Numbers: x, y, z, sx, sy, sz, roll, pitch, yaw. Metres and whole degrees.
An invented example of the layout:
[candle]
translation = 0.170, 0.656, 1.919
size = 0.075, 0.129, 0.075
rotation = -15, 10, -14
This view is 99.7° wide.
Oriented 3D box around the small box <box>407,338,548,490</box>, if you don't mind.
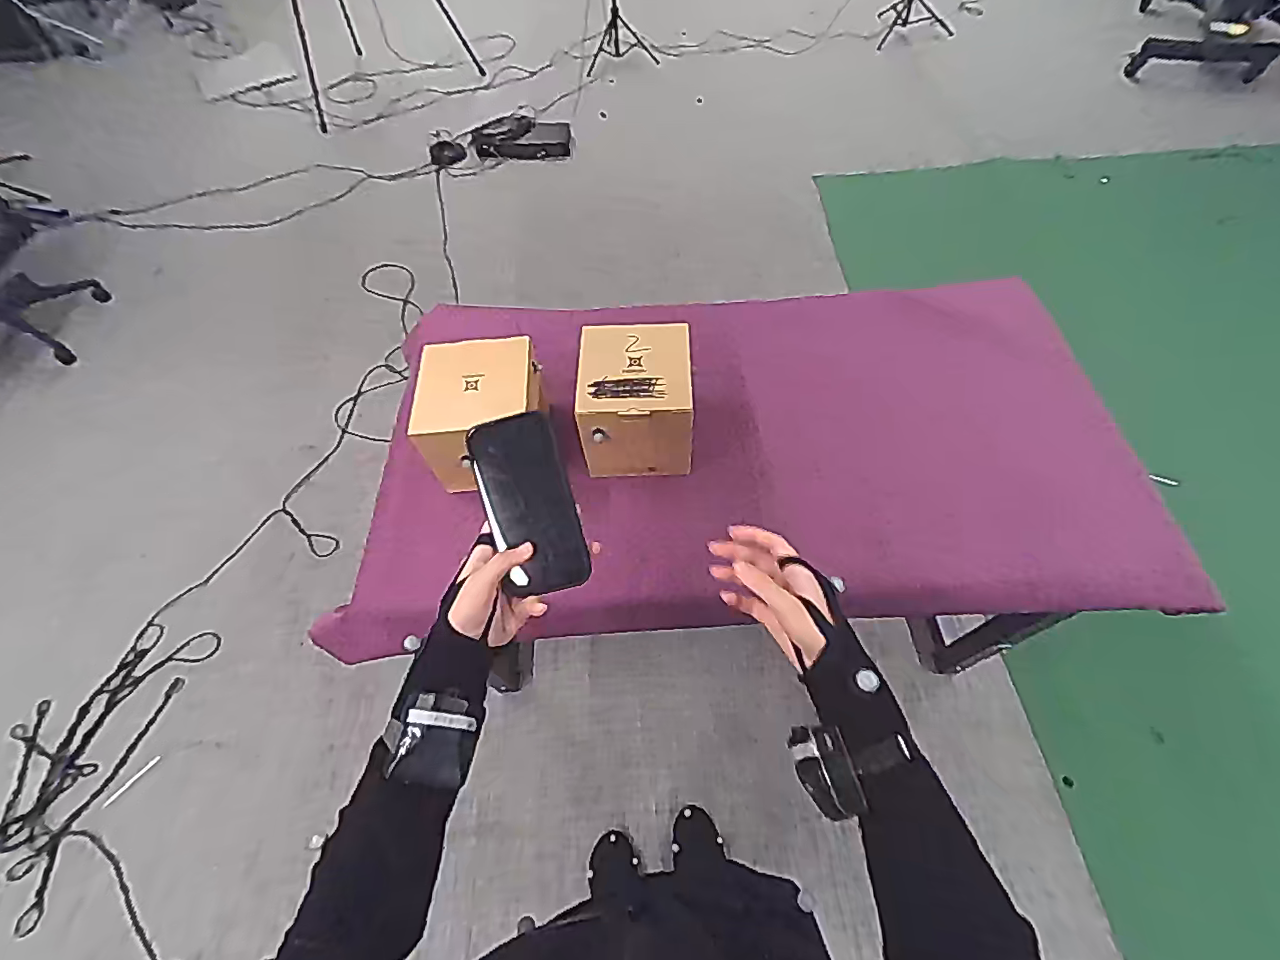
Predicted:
[small box]
translation = -0.242, -0.096, 0.854
size = 0.168, 0.176, 0.179
rotation = -5, 57, 0
